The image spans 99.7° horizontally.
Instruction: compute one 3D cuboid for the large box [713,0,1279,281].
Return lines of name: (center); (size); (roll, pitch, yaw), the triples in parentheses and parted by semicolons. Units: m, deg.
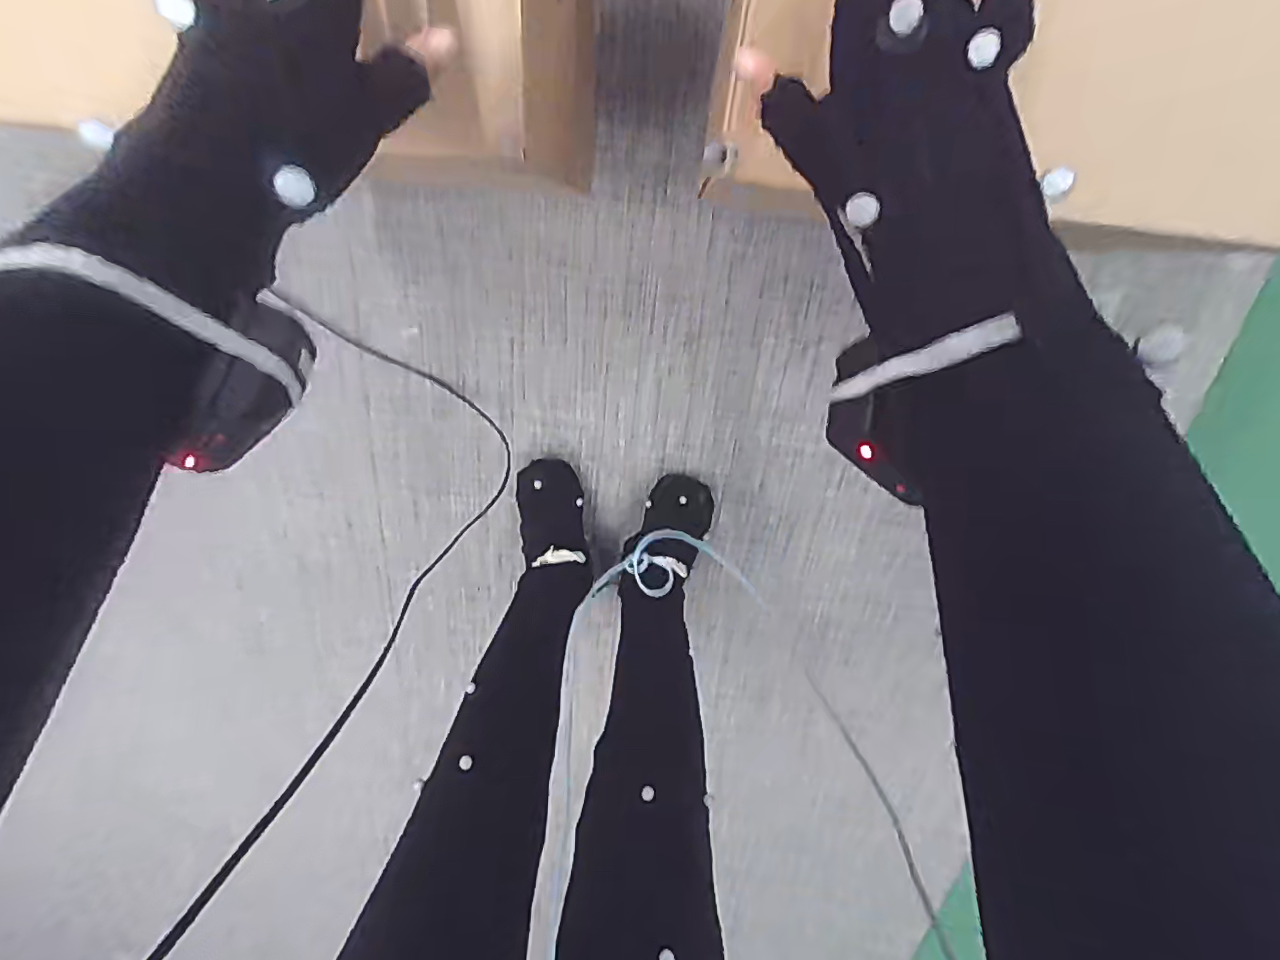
large box: (0.291, -0.364, 0.458); (0.408, 0.320, 0.320); (8, 113, 1)
